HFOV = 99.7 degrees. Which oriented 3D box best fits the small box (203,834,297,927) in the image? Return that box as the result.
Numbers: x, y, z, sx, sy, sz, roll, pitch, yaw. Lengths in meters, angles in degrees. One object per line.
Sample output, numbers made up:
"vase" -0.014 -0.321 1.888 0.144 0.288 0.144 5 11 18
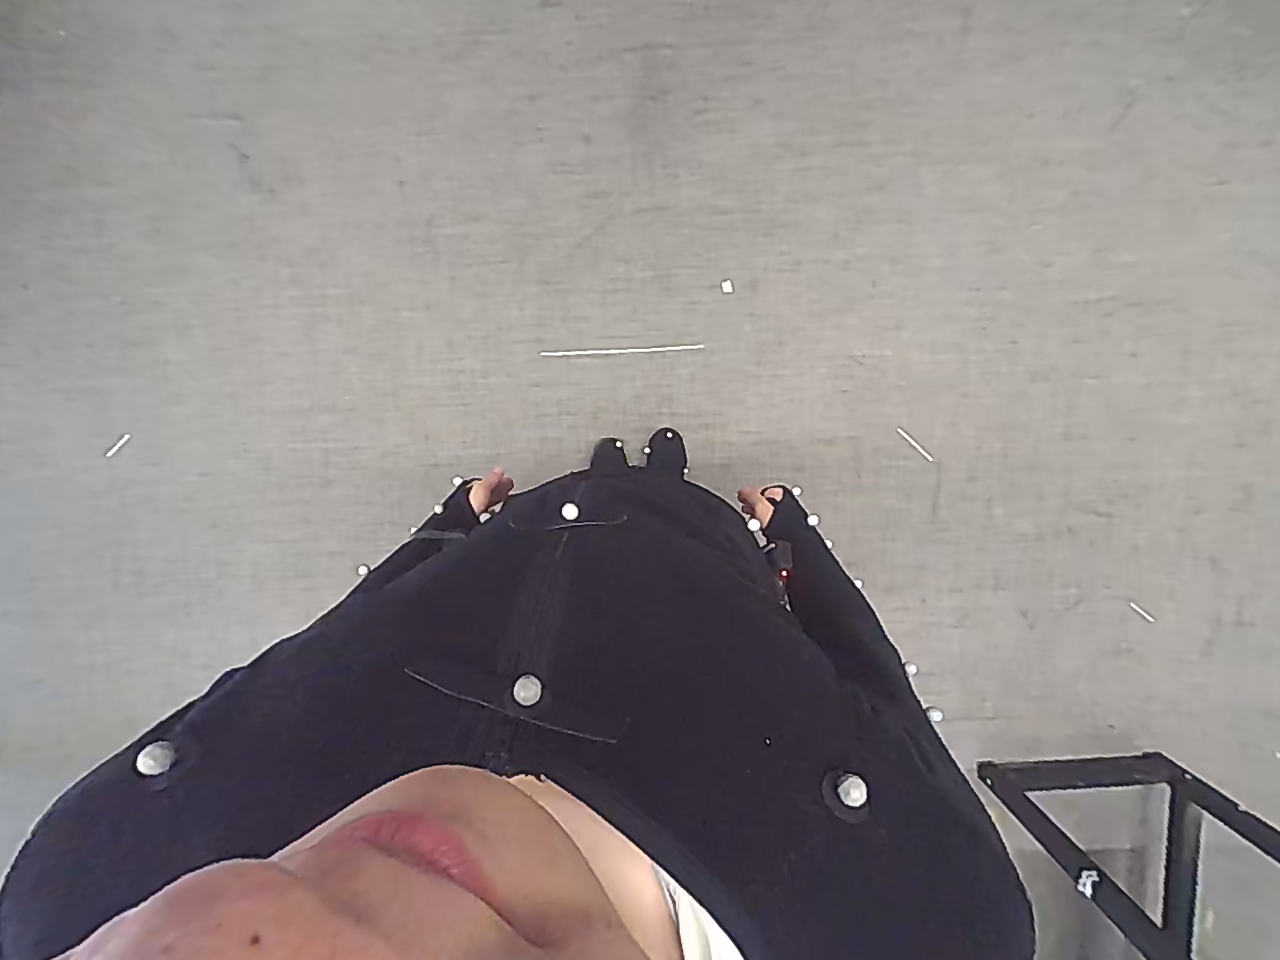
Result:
"small box" -1.182 1.219 1.655 0.179 0.176 0.168 0 97 1
